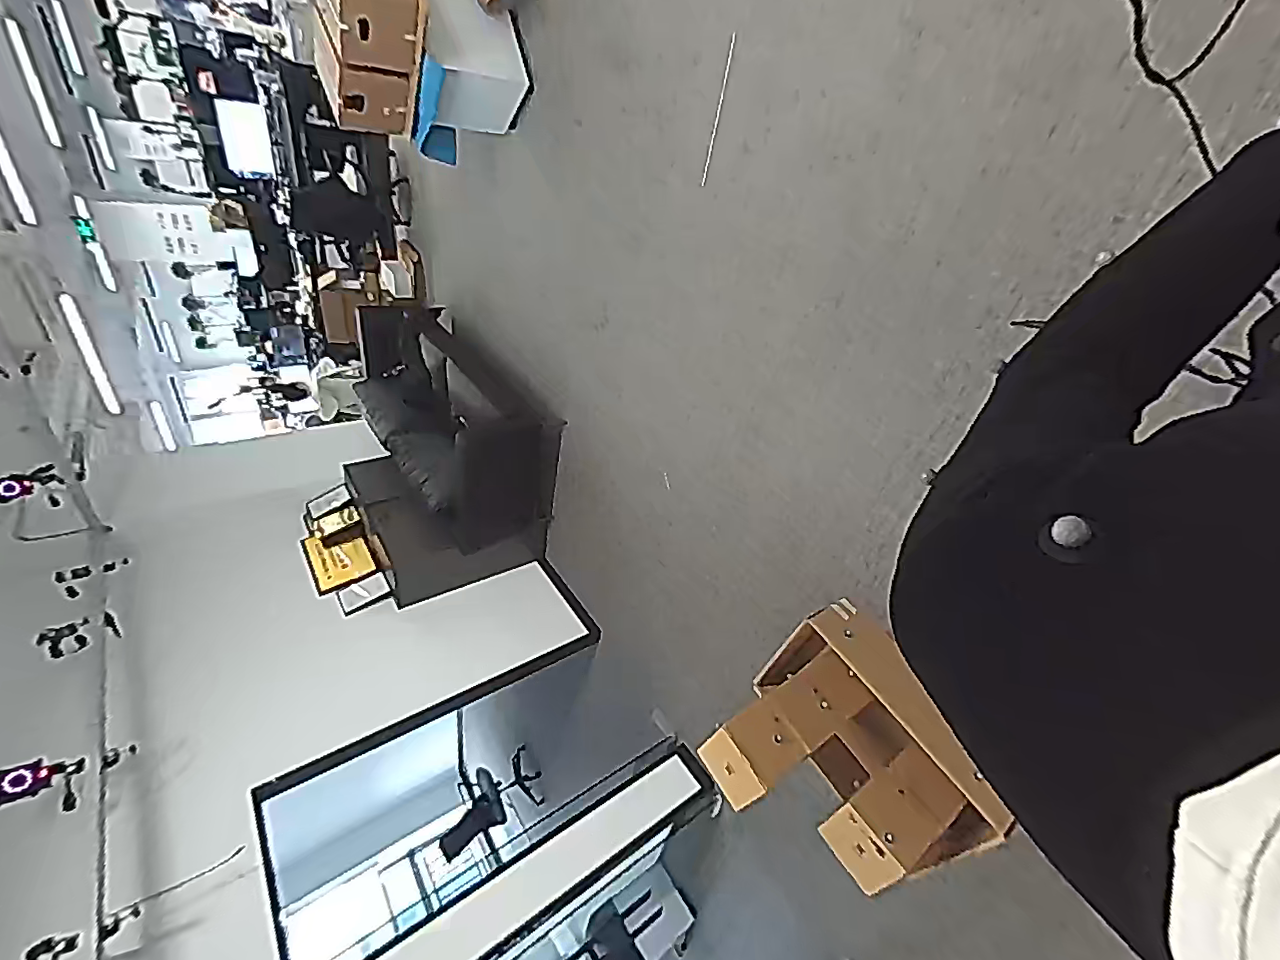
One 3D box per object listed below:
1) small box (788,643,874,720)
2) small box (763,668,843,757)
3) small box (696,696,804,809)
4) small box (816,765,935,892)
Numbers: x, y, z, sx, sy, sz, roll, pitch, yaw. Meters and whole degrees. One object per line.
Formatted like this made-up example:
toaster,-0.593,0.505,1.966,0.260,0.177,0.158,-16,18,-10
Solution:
small box,0.528,0.598,1.542,0.168,0.176,0.179,52,139,27
small box,0.404,0.639,1.445,0.168,0.176,0.179,51,139,28
small box,0.276,0.678,1.354,0.168,0.176,0.179,51,139,27
small box,0.566,0.832,1.300,0.168,0.176,0.179,46,137,32
